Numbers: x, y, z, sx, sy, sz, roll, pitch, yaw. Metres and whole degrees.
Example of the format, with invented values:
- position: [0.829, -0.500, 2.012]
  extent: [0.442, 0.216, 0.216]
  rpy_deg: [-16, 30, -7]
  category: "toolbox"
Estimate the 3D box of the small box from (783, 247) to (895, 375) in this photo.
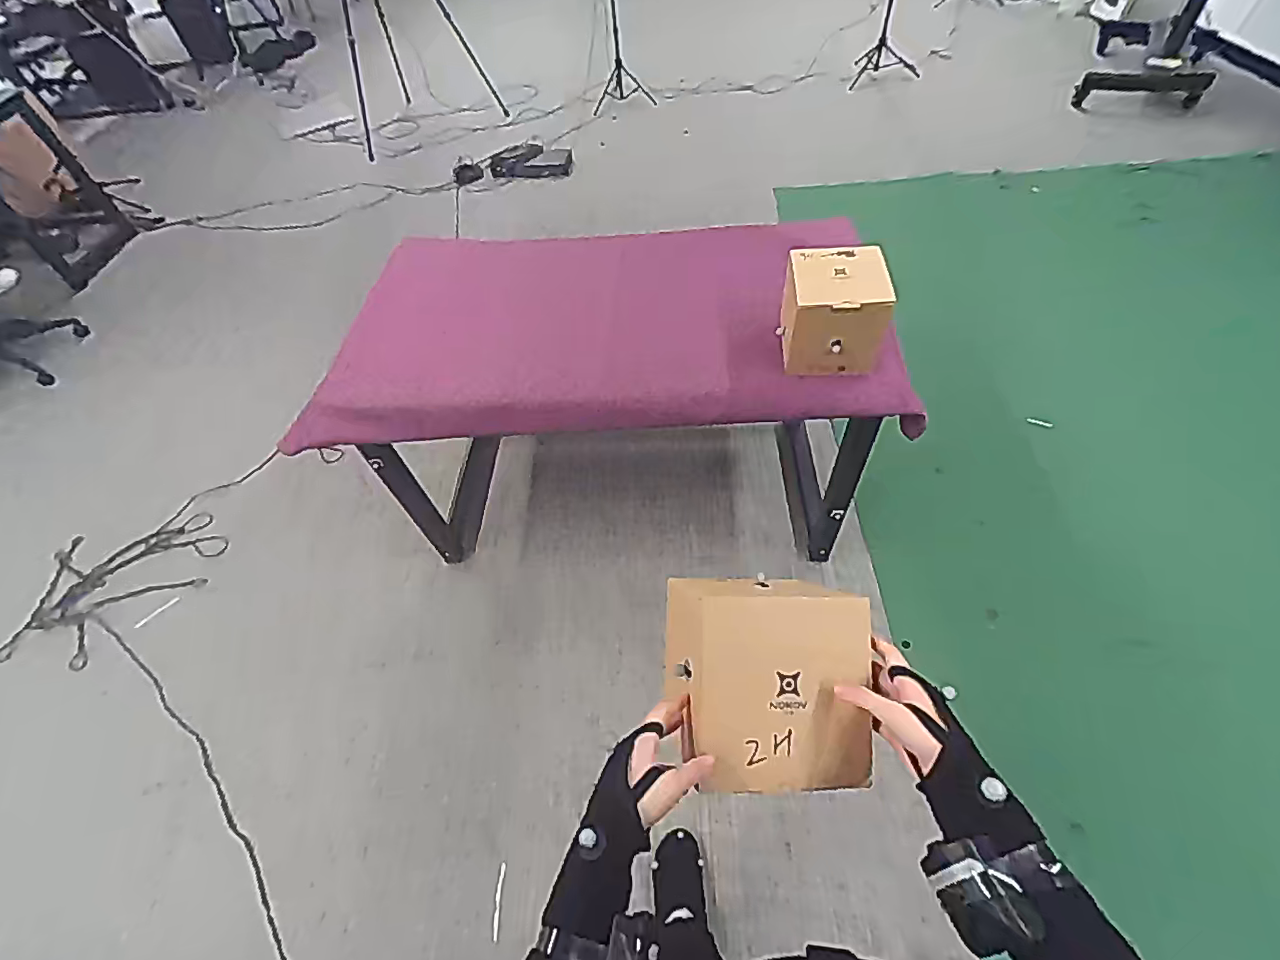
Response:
- position: [0.367, -0.314, 1.030]
  extent: [0.168, 0.176, 0.179]
  rpy_deg: [1, 55, 8]
  category: "small box"

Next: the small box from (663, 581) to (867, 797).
- position: [0.118, 0.201, 0.568]
  extent: [0.168, 0.176, 0.179]
  rpy_deg: [2, 85, -6]
  category: "small box"
